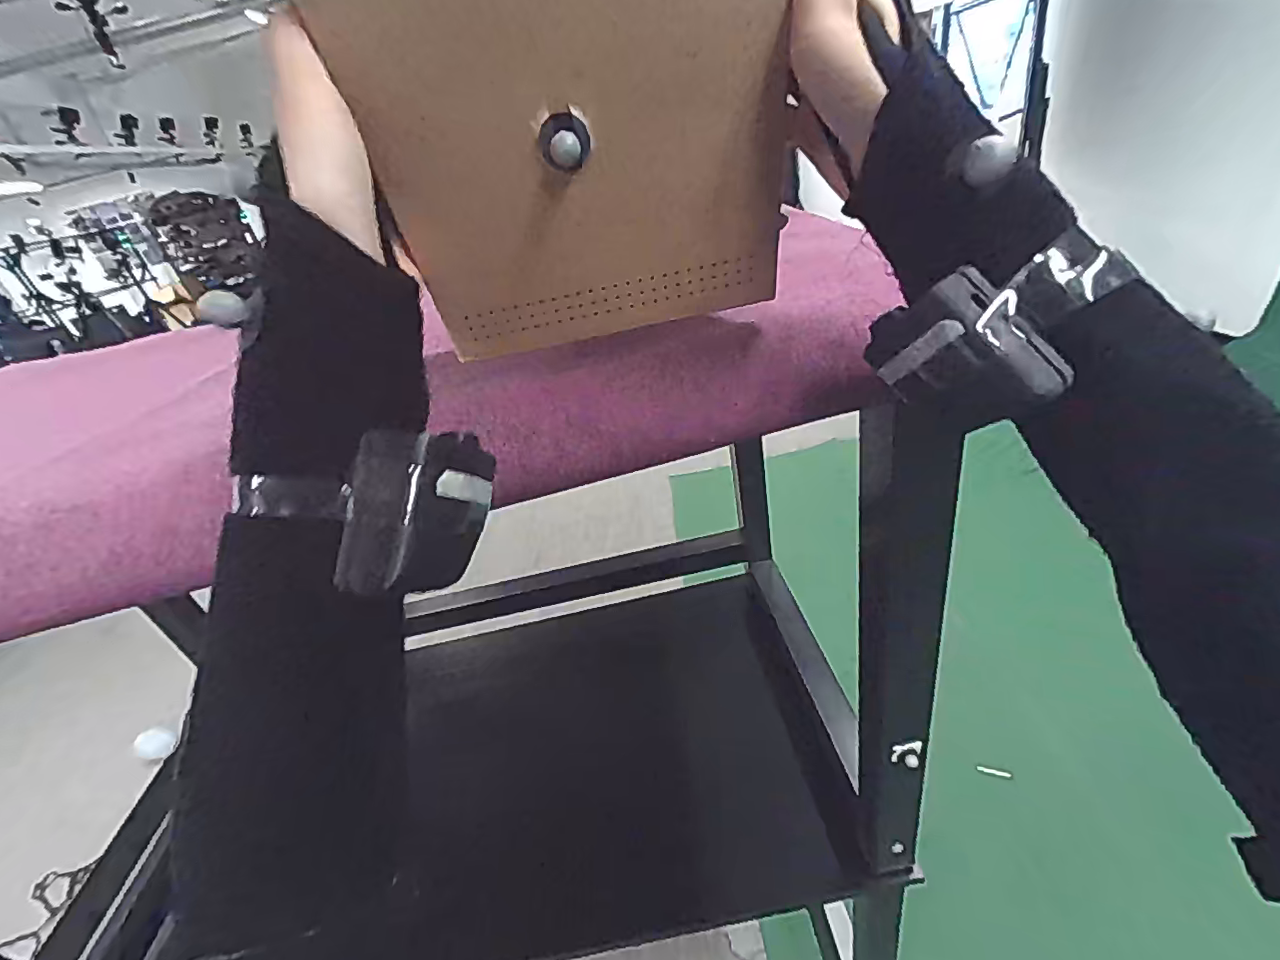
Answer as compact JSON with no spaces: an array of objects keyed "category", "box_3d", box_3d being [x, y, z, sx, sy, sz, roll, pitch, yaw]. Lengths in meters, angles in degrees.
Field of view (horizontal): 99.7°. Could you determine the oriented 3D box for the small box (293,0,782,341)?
[{"category":"small box","box_3d":[-0.035,-0.197,0.277,0.179,0.176,0.168,-12,48,0]}]
